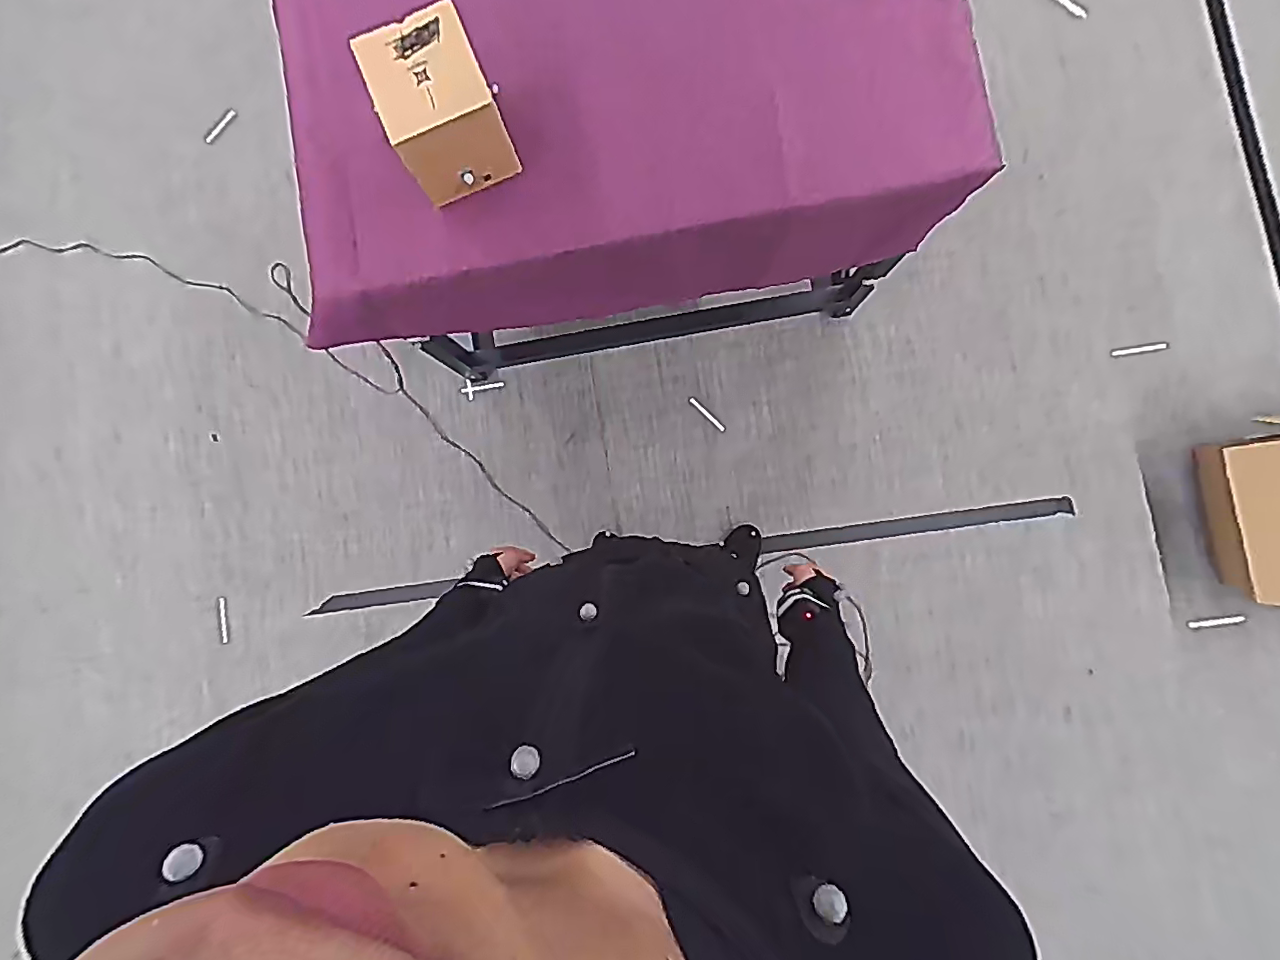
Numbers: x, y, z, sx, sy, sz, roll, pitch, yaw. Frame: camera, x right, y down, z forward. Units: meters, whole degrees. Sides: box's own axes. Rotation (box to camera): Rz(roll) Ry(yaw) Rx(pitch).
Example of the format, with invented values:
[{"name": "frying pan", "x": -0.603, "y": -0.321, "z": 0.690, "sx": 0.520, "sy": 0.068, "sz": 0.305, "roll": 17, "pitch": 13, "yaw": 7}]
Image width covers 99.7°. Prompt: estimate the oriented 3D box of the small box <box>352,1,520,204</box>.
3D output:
[{"name": "small box", "x": -0.316, "y": -0.590, "z": 0.869, "sx": 0.168, "sy": 0.176, "sz": 0.179, "roll": -23, "pitch": 87, "yaw": 2}]
